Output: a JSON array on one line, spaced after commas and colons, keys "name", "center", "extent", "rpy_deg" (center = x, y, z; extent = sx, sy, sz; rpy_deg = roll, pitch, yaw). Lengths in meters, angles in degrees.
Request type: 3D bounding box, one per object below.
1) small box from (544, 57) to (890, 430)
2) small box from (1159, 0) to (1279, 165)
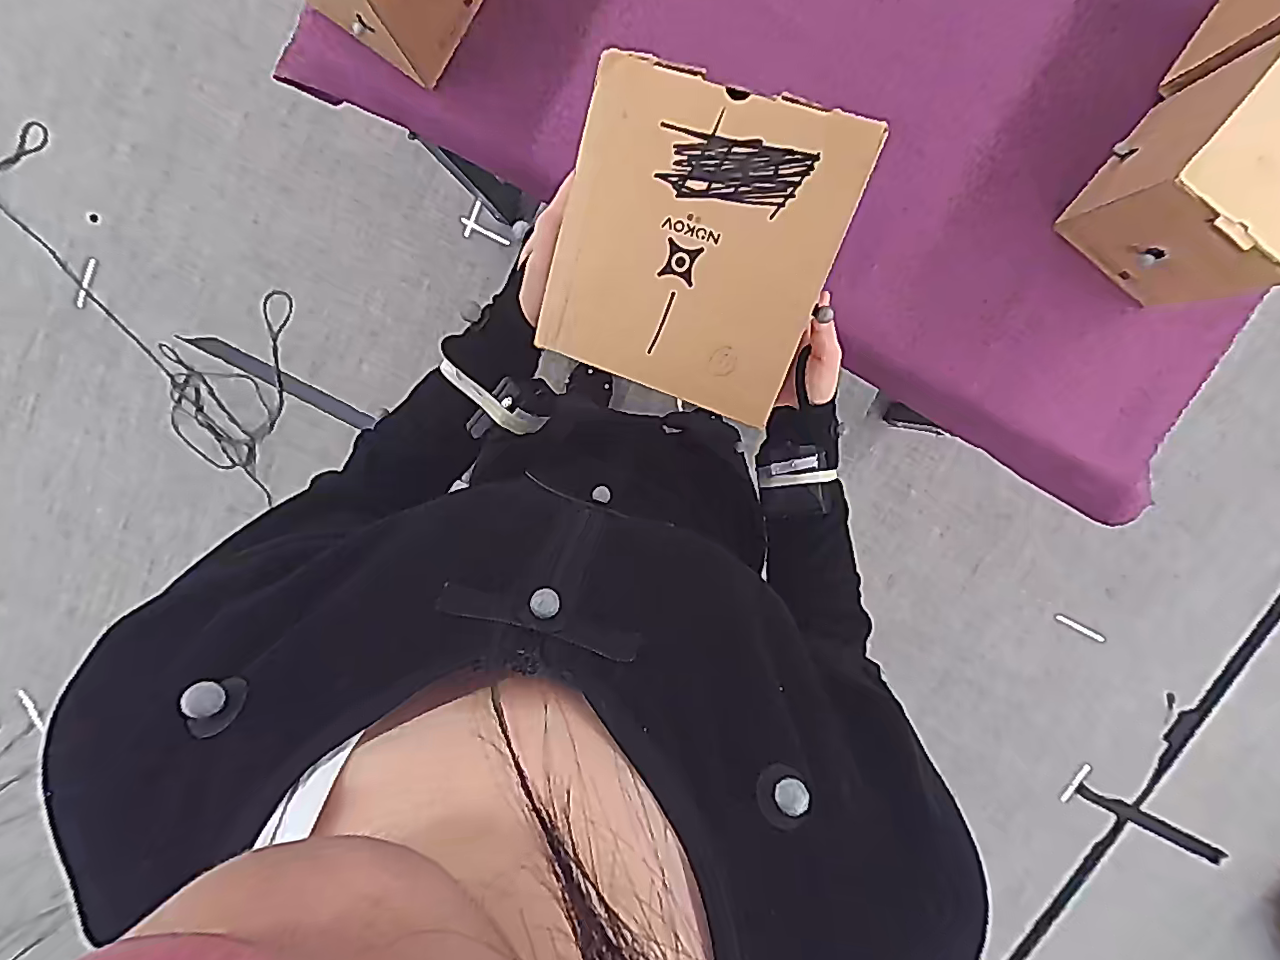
[{"name": "small box", "center": [0.055, -0.159, 0.402], "extent": [0.168, 0.176, 0.179], "rpy_deg": [22, 110, 9]}, {"name": "small box", "center": [0.722, -0.480, 0.564], "extent": [0.168, 0.176, 0.179], "rpy_deg": [31, 99, -5]}]
